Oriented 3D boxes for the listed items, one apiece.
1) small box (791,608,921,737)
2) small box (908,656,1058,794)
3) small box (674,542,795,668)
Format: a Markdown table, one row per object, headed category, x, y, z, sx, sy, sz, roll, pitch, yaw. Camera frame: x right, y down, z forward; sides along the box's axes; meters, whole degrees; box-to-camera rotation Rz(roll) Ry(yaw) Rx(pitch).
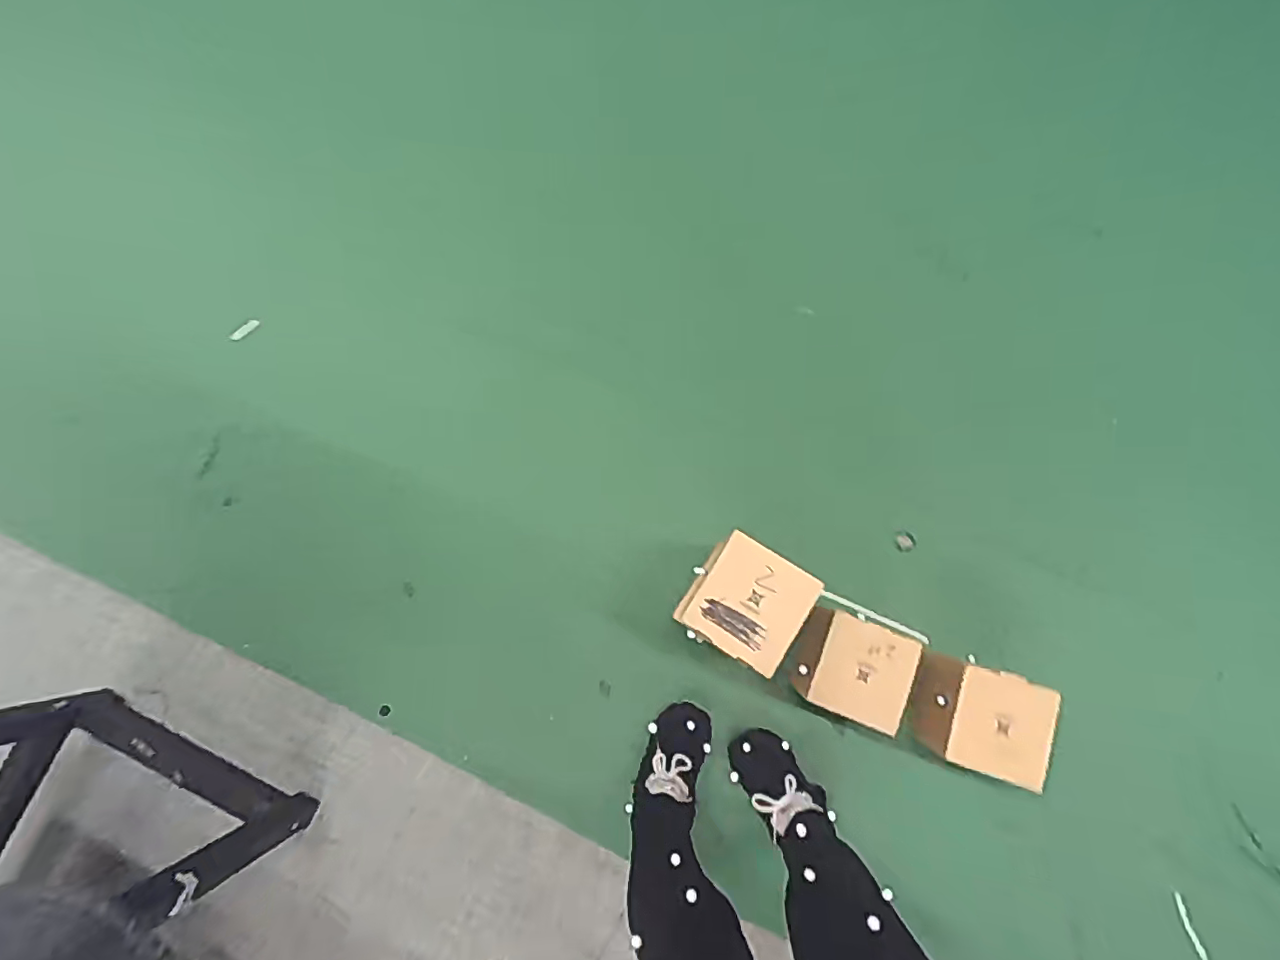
| category | x | y | z | sx | sy | sz | roll | pitch | yaw |
| --- | --- | --- | --- | --- | --- | --- | --- | --- | --- |
| small box | 0.408 | 0.363 | 1.055 | 0.168 | 0.176 | 0.179 | 22 | 81 | 7 |
| small box | 0.639 | 0.449 | 1.027 | 0.168 | 0.176 | 0.179 | 19 | 81 | 7 |
| small box | 0.181 | 0.245 | 1.090 | 0.168 | 0.176 | 0.179 | 34 | 84 | 10 |
